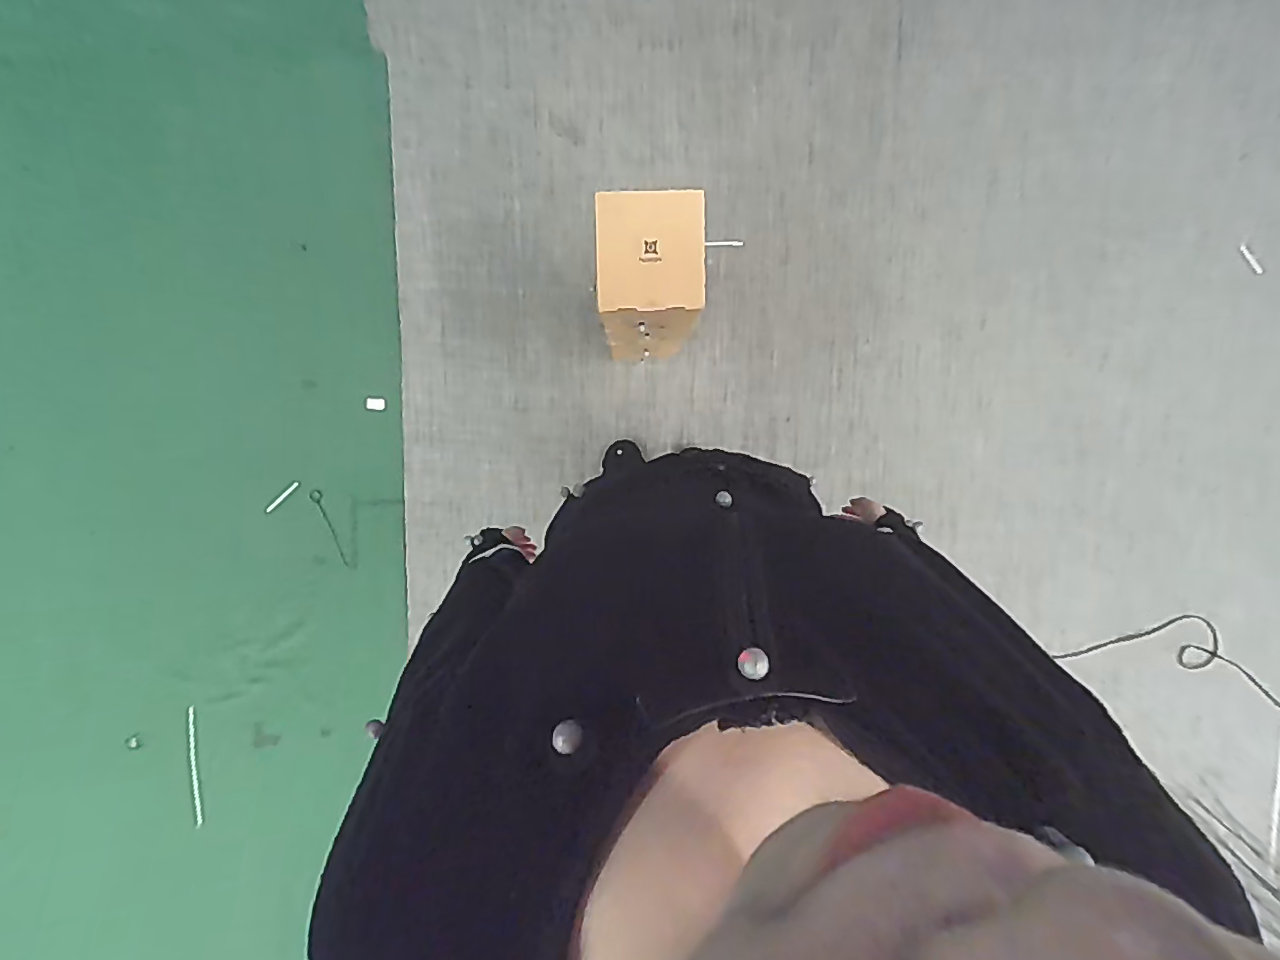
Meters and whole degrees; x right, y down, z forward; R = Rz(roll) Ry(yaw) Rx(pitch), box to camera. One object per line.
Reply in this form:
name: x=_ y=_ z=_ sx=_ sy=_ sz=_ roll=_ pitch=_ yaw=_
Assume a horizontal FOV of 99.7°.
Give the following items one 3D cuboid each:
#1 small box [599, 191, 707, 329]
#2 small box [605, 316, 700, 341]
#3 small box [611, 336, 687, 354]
small box: x=0.019 y=-0.355 z=0.899 sx=0.168 sy=0.176 sz=0.179 roll=-1 pitch=96 yaw=1
small box: x=0.022 y=-0.370 z=1.061 sx=0.179 sy=0.176 sz=0.168 roll=-2 pitch=95 yaw=1
small box: x=0.016 y=-0.390 z=1.224 sx=0.168 sy=0.176 sz=0.179 roll=-4 pitch=96 yaw=2
